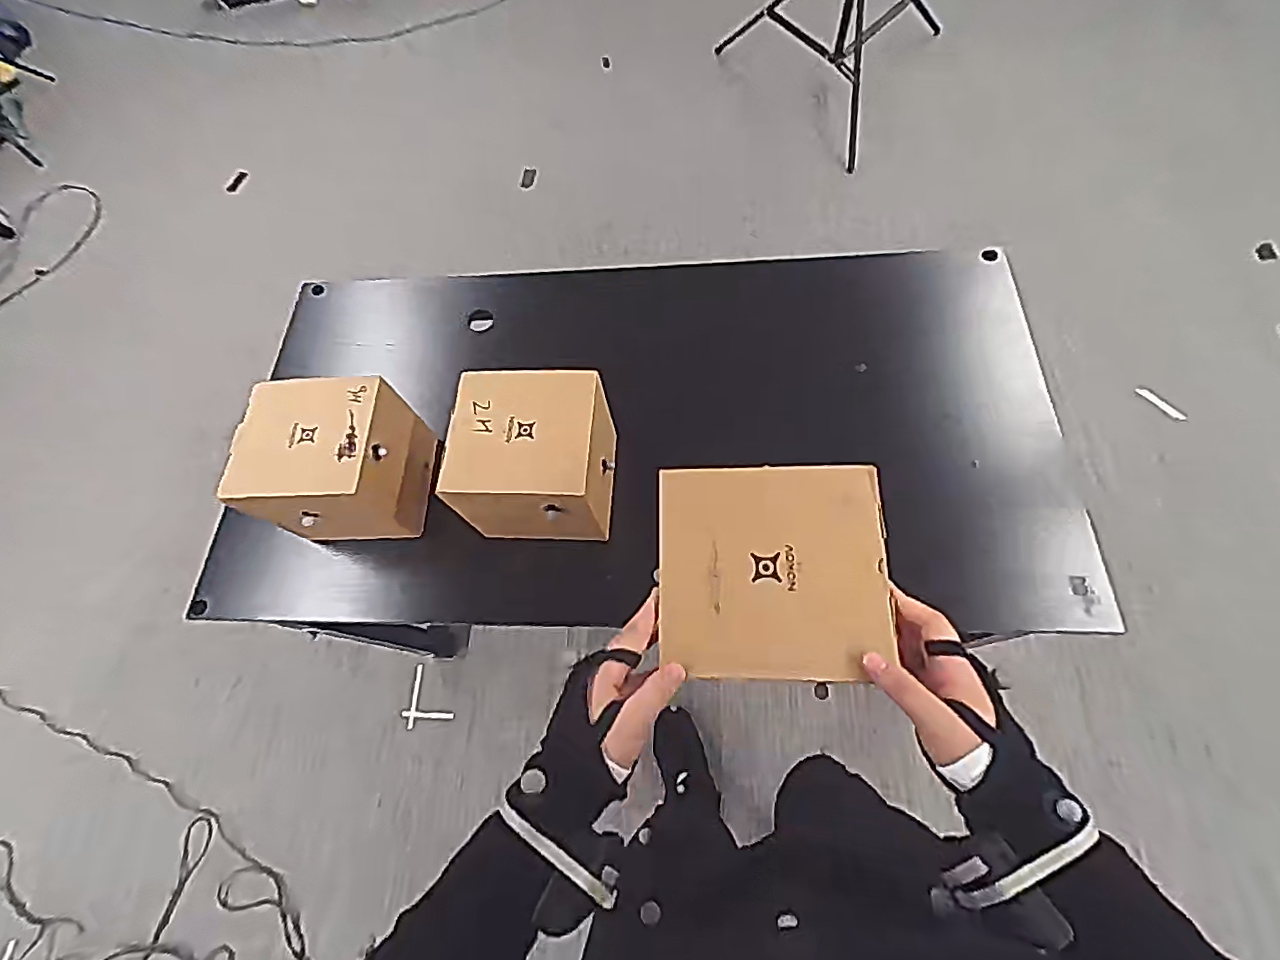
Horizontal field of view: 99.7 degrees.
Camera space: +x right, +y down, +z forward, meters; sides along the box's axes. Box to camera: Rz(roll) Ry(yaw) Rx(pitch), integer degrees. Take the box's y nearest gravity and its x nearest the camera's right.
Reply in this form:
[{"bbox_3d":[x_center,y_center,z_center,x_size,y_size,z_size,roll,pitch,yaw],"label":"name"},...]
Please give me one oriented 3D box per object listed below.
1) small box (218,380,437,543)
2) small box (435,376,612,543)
[{"bbox_3d":[-0.407,-0.016,0.737,0.179,0.176,0.168,-3,66,5],"label":"small box"},{"bbox_3d":[-0.135,-0.020,0.707,0.179,0.176,0.168,1,66,7],"label":"small box"}]
